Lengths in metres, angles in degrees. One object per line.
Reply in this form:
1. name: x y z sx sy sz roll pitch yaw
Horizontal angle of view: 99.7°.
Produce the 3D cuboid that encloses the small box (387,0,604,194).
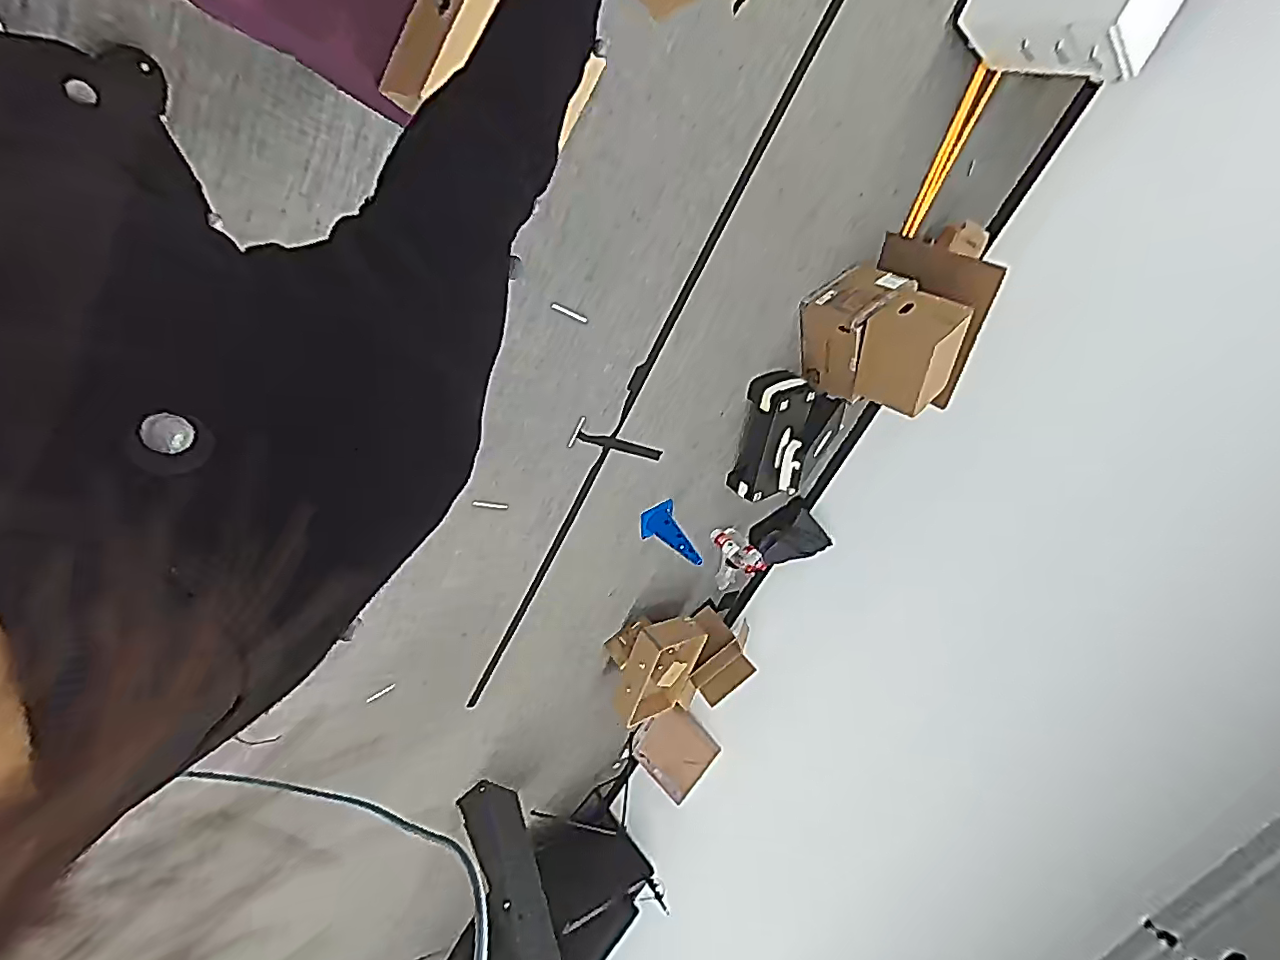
1. small box: -0.184 -0.495 0.664 0.168 0.176 0.179 20 107 -48
